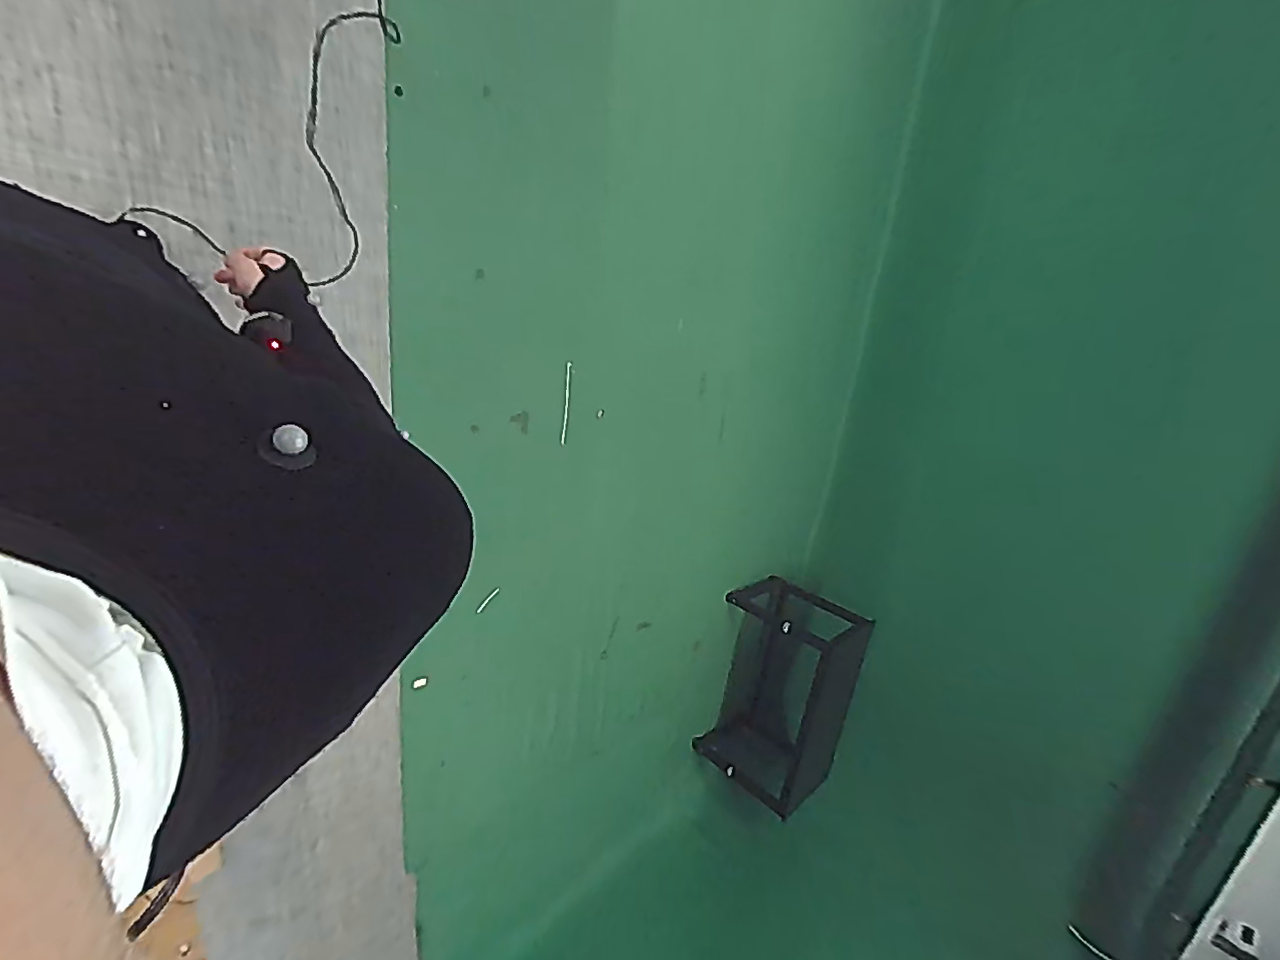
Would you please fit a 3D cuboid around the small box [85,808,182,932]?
[{"bbox_3d":[-1.336,1.019,1.424,0.179,0.176,0.168,0,108,-47],"label":"small box"}]

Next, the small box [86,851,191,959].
[{"bbox_3d":[-1.220,1.062,1.314,0.179,0.176,0.168,-1,108,-47],"label":"small box"}]
